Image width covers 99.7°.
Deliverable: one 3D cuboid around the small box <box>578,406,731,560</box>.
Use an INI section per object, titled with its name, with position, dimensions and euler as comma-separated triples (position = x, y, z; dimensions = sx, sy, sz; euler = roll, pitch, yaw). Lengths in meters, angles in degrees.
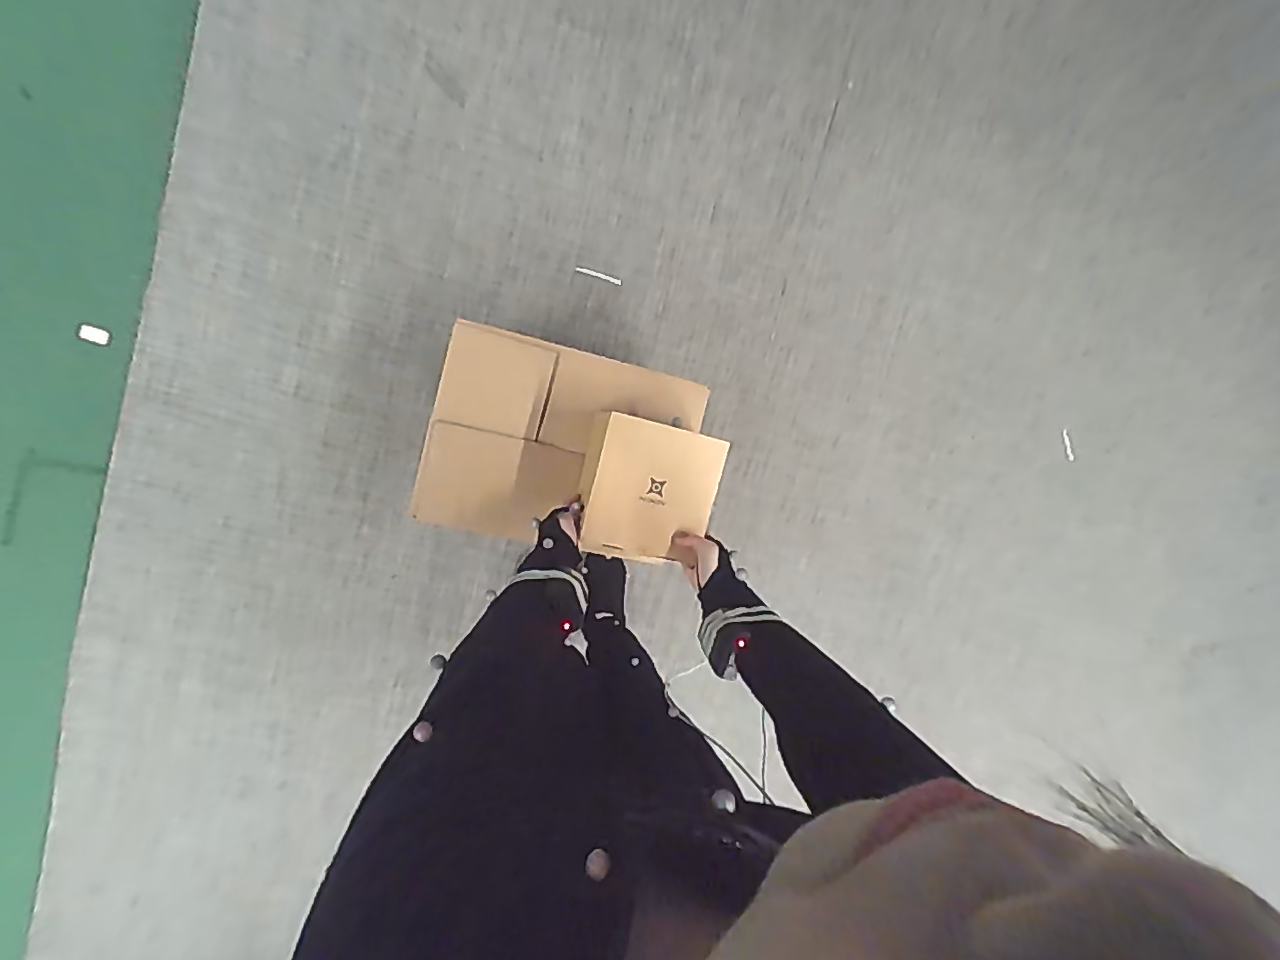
[small box]
position = 0.009, -0.005, 0.783
dimensions = 0.168, 0.176, 0.179
euler = 13, 97, -12
